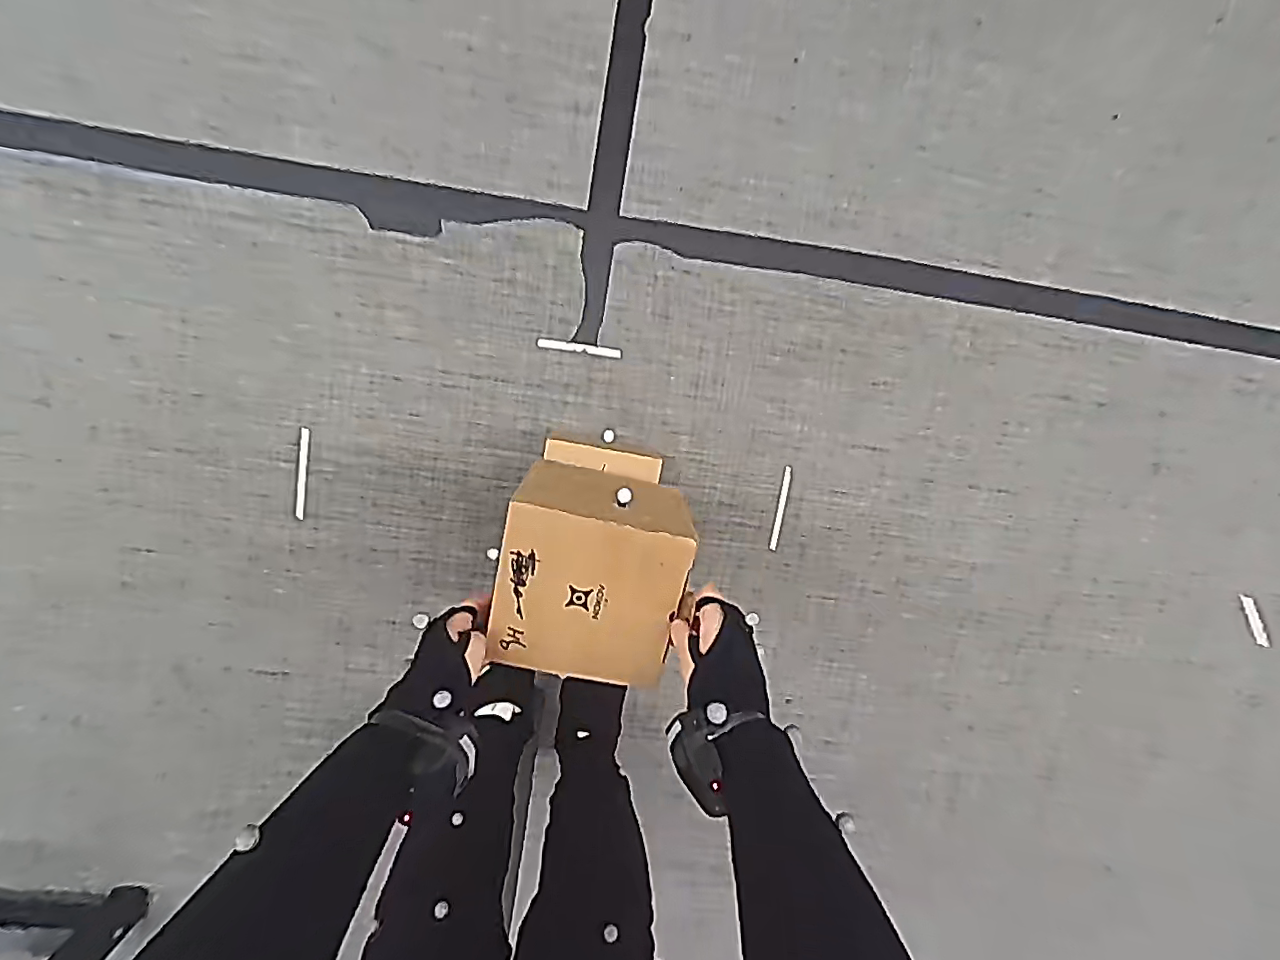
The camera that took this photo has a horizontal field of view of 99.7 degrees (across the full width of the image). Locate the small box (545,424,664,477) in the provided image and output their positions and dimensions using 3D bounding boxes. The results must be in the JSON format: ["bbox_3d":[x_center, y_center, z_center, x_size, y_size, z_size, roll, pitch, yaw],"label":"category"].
[{"bbox_3d":[-0.069,0.018,0.834,0.168,0.176,0.179,11,98,-7],"label":"small box"}]

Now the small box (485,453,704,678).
[{"bbox_3d":[-0.049,0.080,0.579,0.179,0.176,0.168,13,105,-7],"label":"small box"}]
